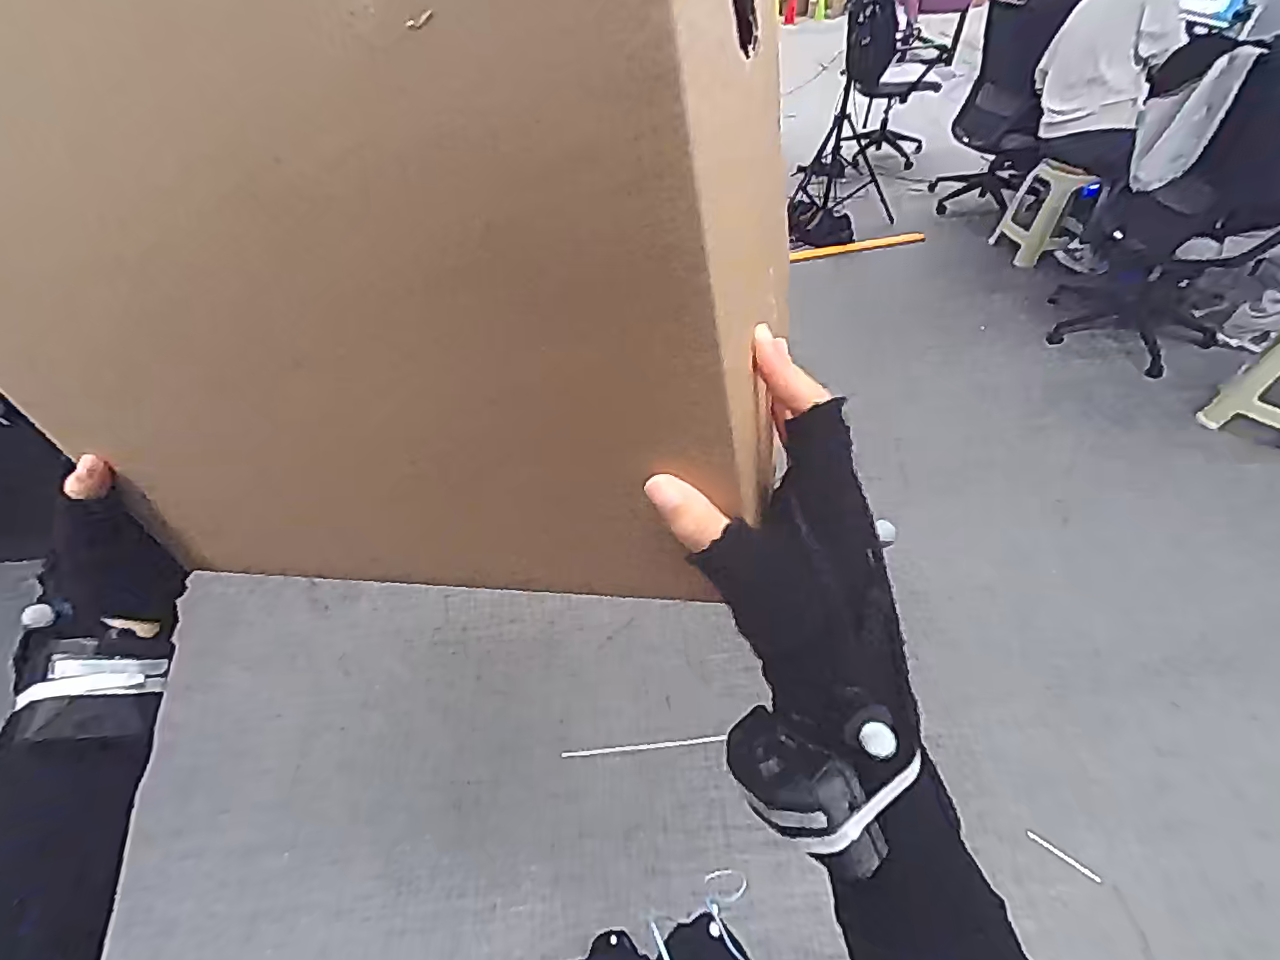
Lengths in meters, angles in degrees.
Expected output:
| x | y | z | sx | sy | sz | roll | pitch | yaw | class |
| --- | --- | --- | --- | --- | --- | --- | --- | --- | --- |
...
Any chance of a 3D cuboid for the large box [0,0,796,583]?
| x | y | z | sx | sy | sz | roll | pitch | yaw | class |
| --- | --- | --- | --- | --- | --- | --- | --- | --- | --- |
| -0.114 | -0.152 | 0.349 | 0.408 | 0.320 | 0.320 | 0 | 39 | 18 | large box |
